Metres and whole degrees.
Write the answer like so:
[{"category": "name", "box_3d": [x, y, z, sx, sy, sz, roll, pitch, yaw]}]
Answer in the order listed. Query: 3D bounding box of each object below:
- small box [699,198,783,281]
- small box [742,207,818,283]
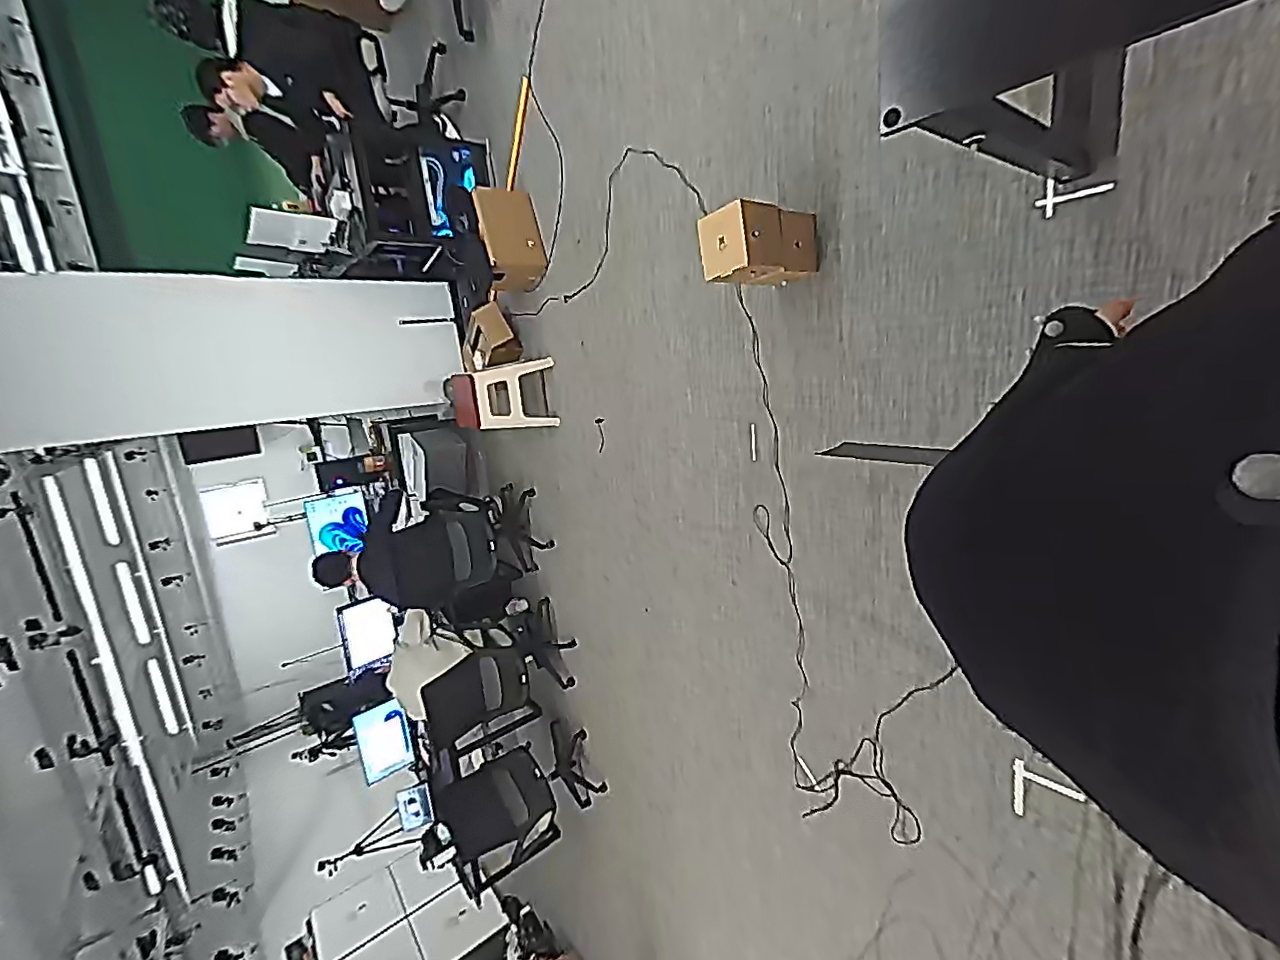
[{"category": "small box", "box_3d": [0.294, -0.683, 1.554, 0.168, 0.176, 0.179, 0, 101, 52]}, {"category": "small box", "box_3d": [0.422, -0.710, 1.650, 0.168, 0.176, 0.179, 5, 106, 52]}]
